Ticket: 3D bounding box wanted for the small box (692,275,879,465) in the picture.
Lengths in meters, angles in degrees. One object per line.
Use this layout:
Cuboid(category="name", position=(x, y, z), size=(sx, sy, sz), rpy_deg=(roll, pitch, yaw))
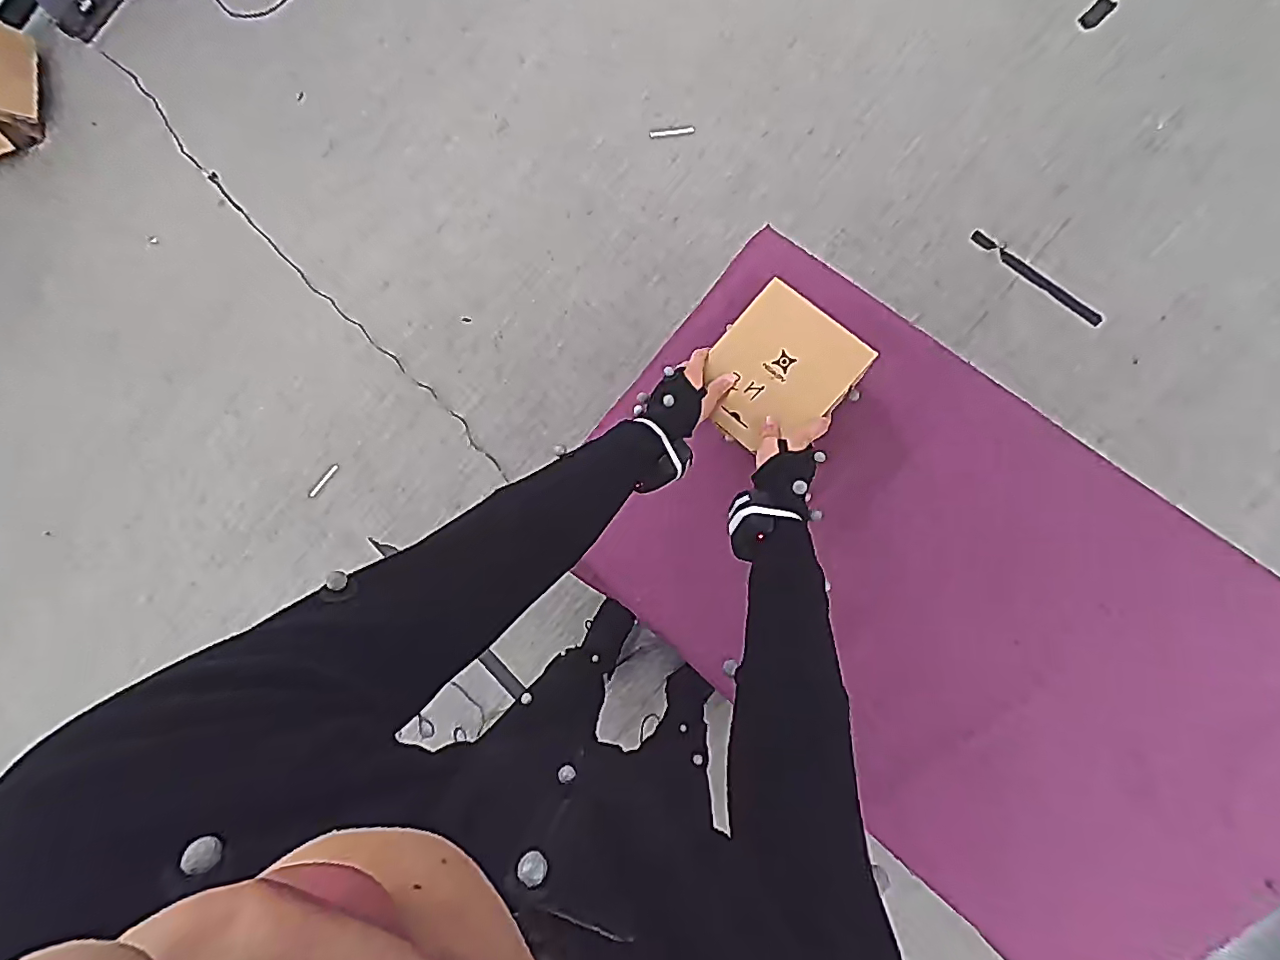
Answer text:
Cuboid(category="small box", position=(0.194, -0.142, 0.761), size=(0.168, 0.176, 0.179), rpy_deg=(43, 94, 12))
